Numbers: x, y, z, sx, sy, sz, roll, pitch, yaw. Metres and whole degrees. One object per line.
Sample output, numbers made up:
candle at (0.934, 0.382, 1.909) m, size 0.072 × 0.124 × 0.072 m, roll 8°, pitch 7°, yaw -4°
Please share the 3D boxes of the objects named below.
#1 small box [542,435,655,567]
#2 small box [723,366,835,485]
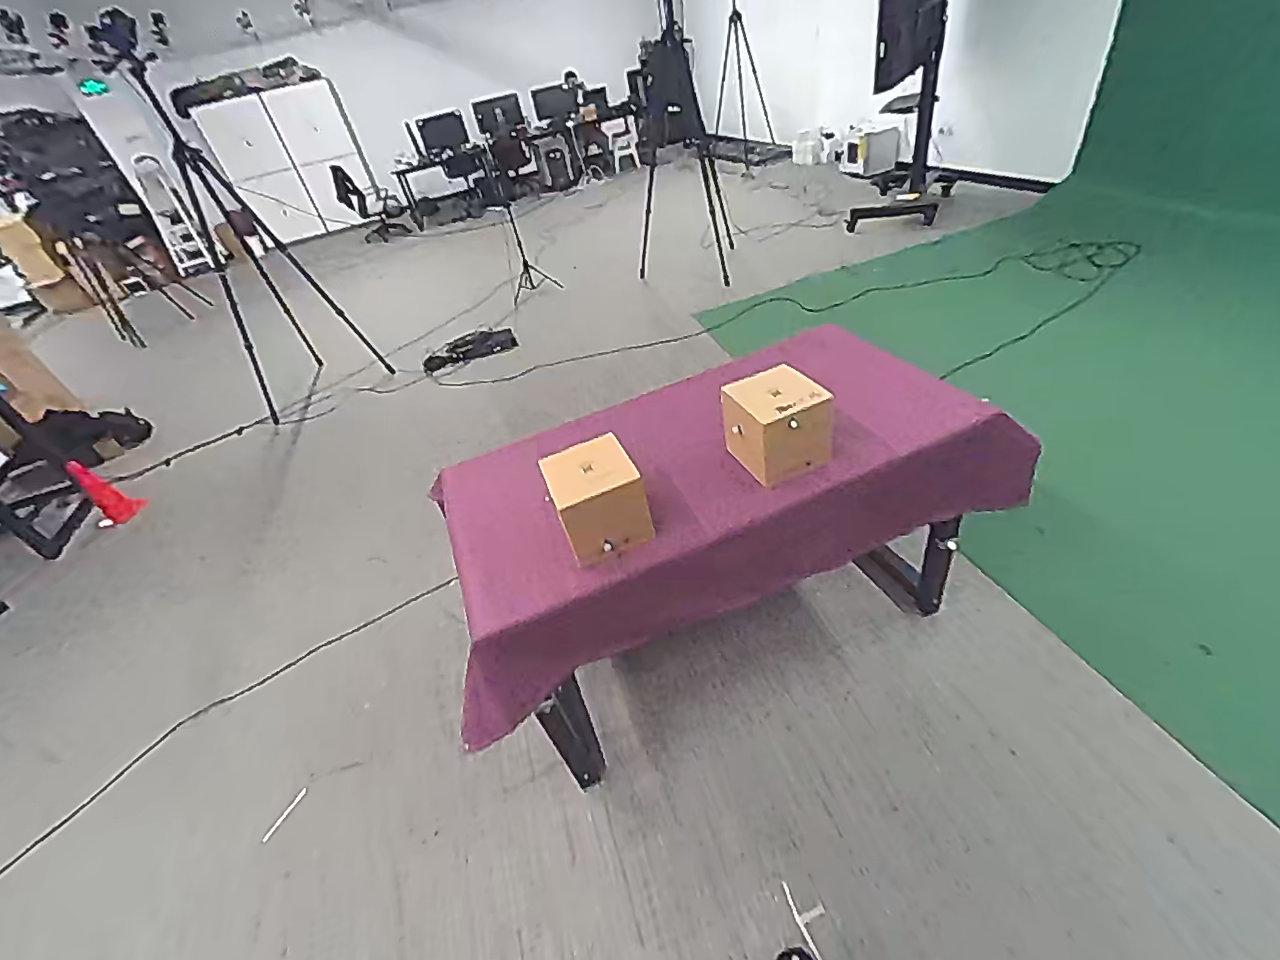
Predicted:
small box at (-0.083, 0.042, 1.093) m, size 0.168 × 0.176 × 0.179 m, roll -22°, pitch 40°, yaw -9°
small box at (0.298, -0.118, 1.169) m, size 0.168 × 0.176 × 0.179 m, roll -23°, pitch 39°, yaw -9°
